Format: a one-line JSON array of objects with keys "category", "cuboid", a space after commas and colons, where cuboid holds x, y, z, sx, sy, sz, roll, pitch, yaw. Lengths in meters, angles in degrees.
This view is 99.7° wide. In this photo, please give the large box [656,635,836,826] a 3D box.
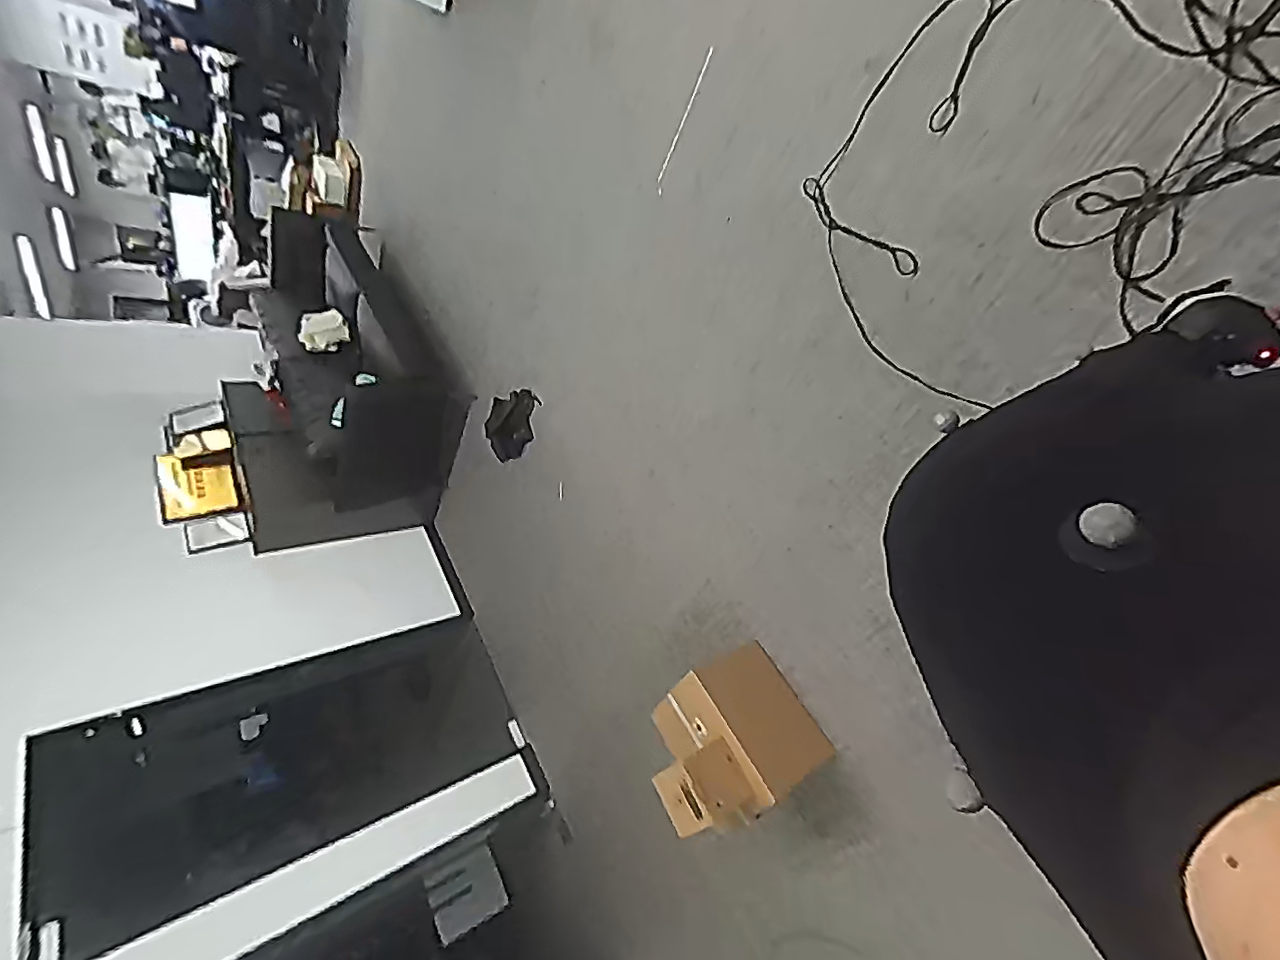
[{"category": "large box", "cuboid": [0.325, 0.776, 1.714, 0.408, 0.320, 0.320, 55, 133, 30]}]
